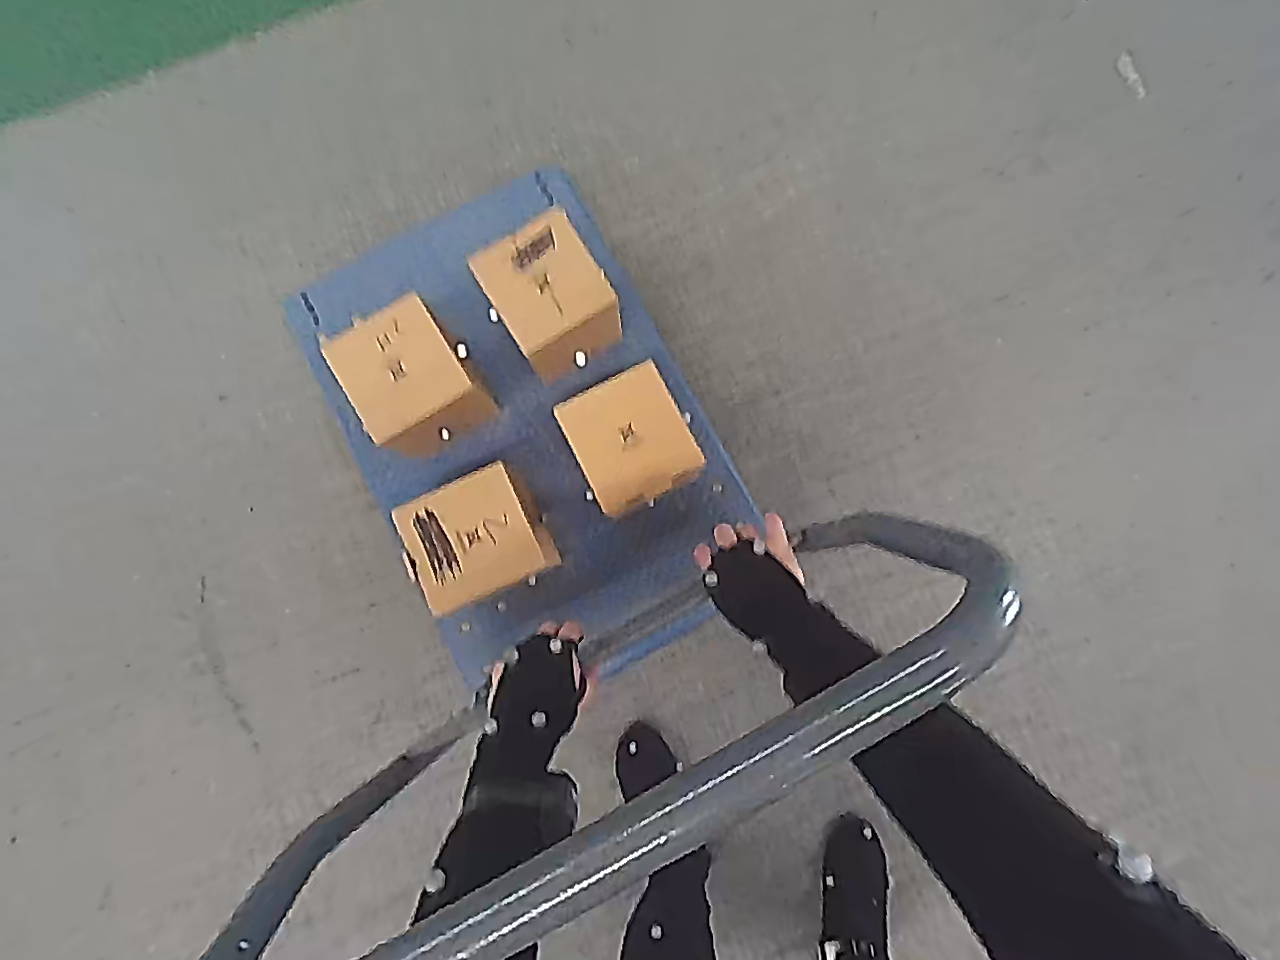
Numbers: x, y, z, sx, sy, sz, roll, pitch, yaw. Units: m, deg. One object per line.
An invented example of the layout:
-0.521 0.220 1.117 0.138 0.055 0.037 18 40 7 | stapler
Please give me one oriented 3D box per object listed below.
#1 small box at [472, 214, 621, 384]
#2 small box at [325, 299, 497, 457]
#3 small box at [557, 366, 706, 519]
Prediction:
-0.143 -0.286 0.892 0.168 0.176 0.179 -32 85 -2 | small box
-0.356 -0.151 0.878 0.168 0.176 0.179 -32 84 -4 | small box
-0.014 -0.049 0.865 0.168 0.176 0.179 -27 84 -3 | small box
